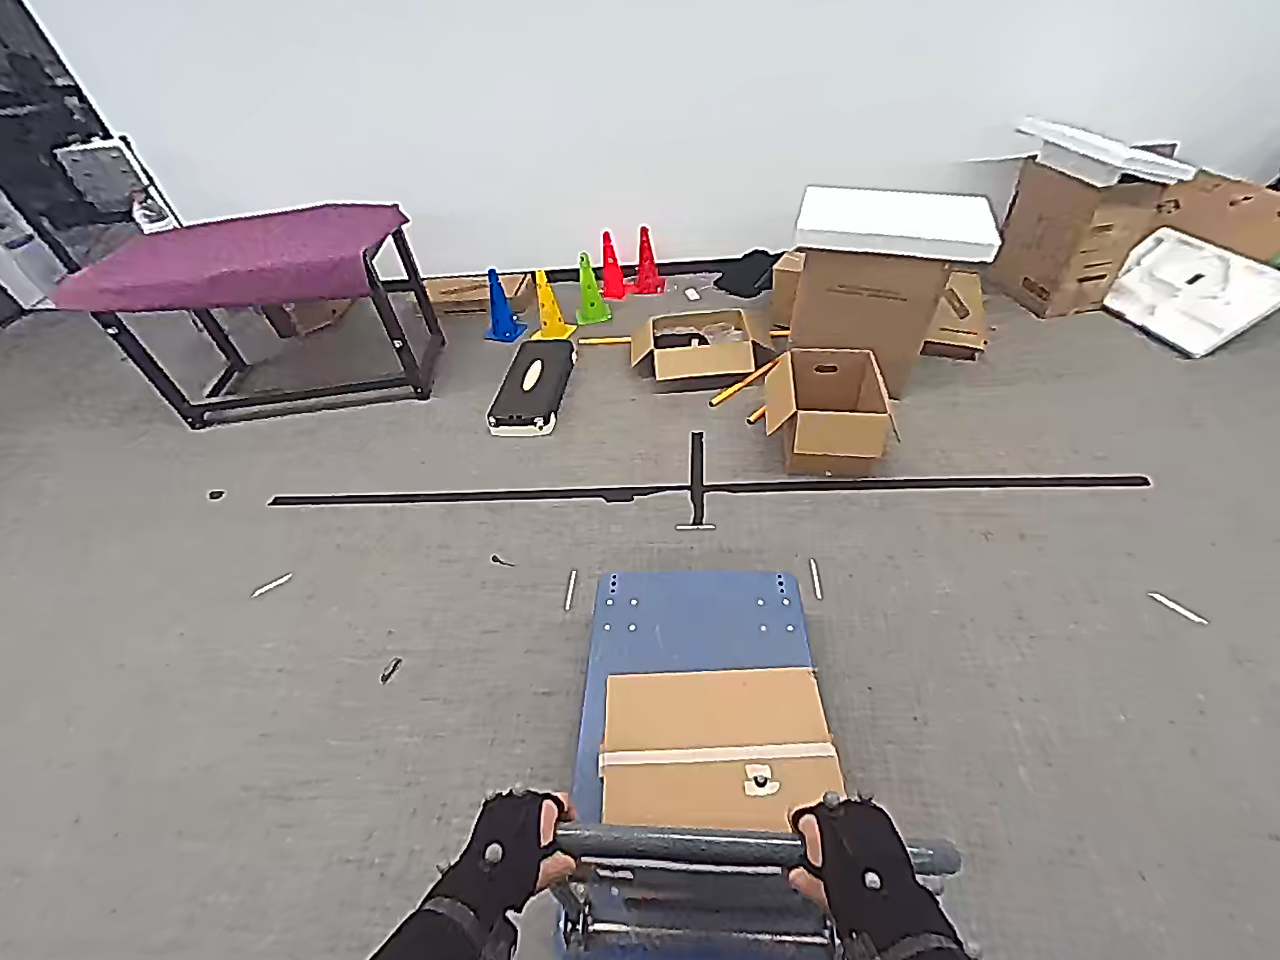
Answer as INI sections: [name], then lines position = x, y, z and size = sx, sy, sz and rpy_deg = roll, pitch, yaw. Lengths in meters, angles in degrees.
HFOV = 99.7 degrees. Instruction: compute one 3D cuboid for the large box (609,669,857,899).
[large box]
position = 0.151, 0.599, 1.064
size = 0.408, 0.320, 0.320
rpy_deg = -3, 44, 2
